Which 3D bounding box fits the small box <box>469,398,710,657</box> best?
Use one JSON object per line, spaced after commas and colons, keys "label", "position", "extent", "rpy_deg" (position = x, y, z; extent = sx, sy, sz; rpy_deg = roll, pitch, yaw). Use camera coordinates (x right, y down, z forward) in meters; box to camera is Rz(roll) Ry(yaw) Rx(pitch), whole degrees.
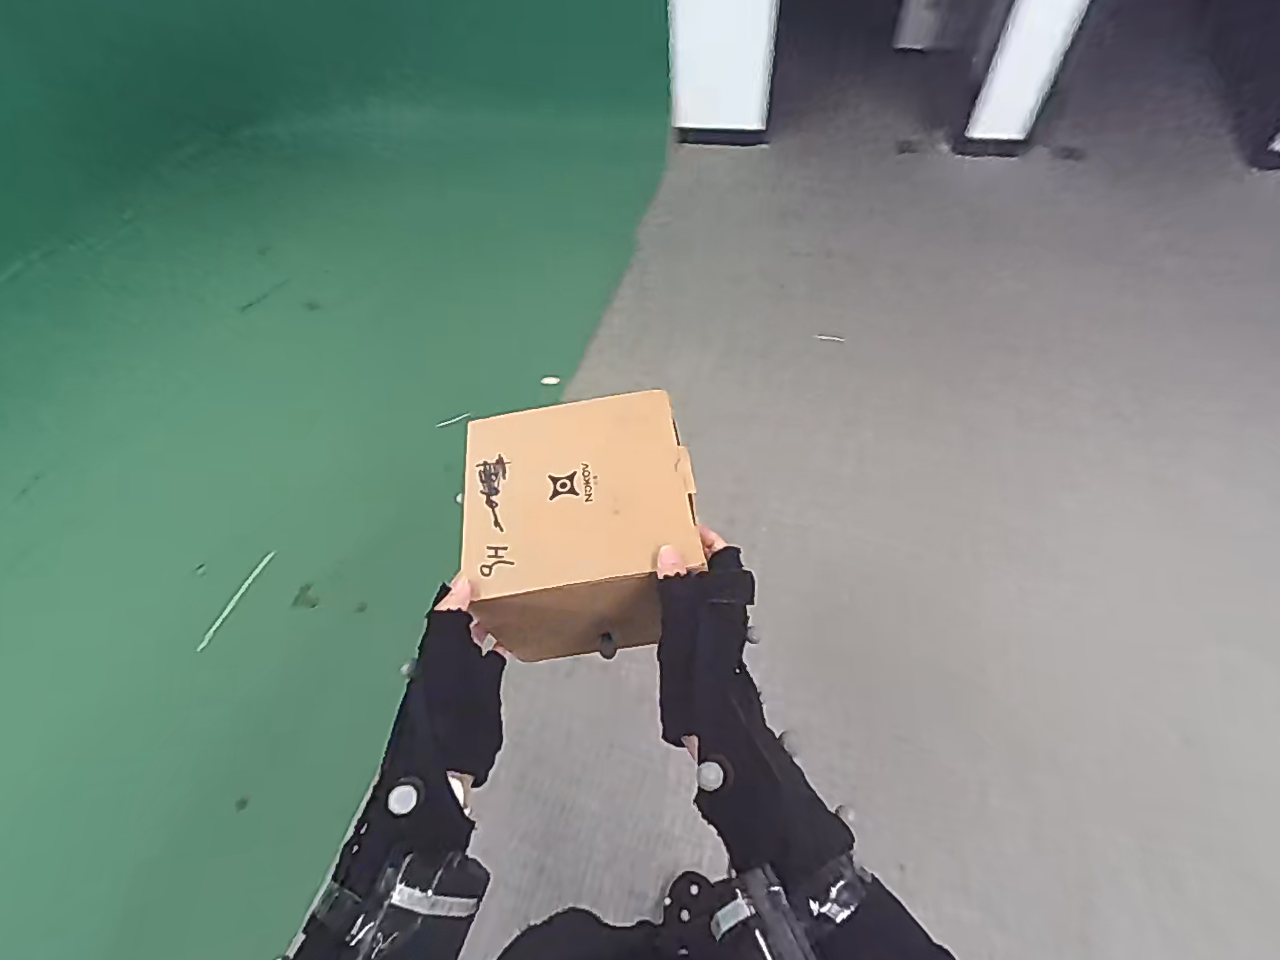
{"label": "small box", "position": [-0.040, 0.050, 0.494], "extent": [0.179, 0.176, 0.168], "rpy_deg": [-7, 56, -1]}
